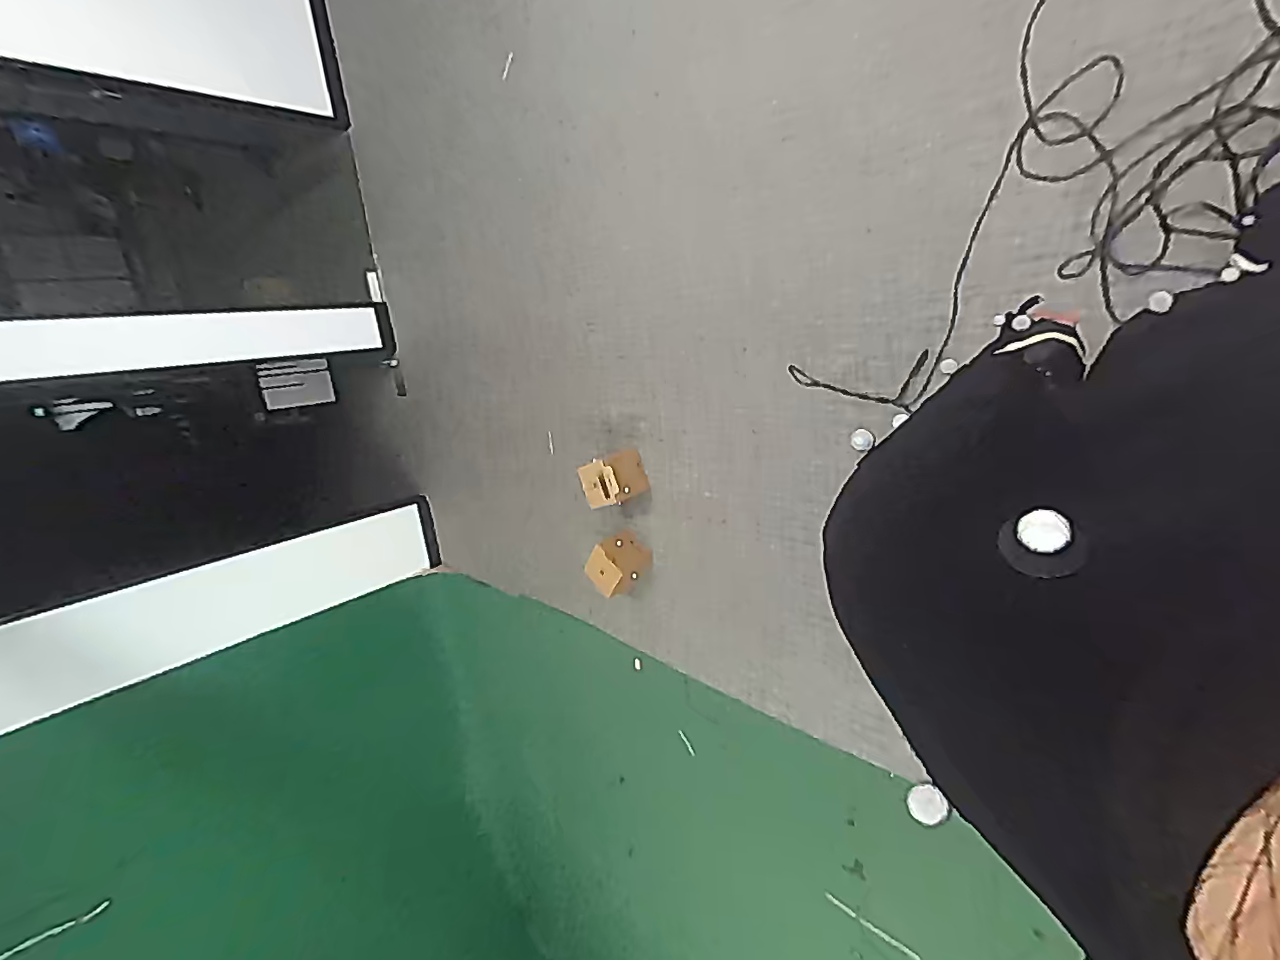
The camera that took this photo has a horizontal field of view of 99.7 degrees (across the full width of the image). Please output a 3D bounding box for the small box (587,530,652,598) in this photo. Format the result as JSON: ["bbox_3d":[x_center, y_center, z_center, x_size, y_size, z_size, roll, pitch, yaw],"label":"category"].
[{"bbox_3d":[-0.078,0.325,2.128,0.168,0.176,0.179,47,134,24],"label":"small box"}]
